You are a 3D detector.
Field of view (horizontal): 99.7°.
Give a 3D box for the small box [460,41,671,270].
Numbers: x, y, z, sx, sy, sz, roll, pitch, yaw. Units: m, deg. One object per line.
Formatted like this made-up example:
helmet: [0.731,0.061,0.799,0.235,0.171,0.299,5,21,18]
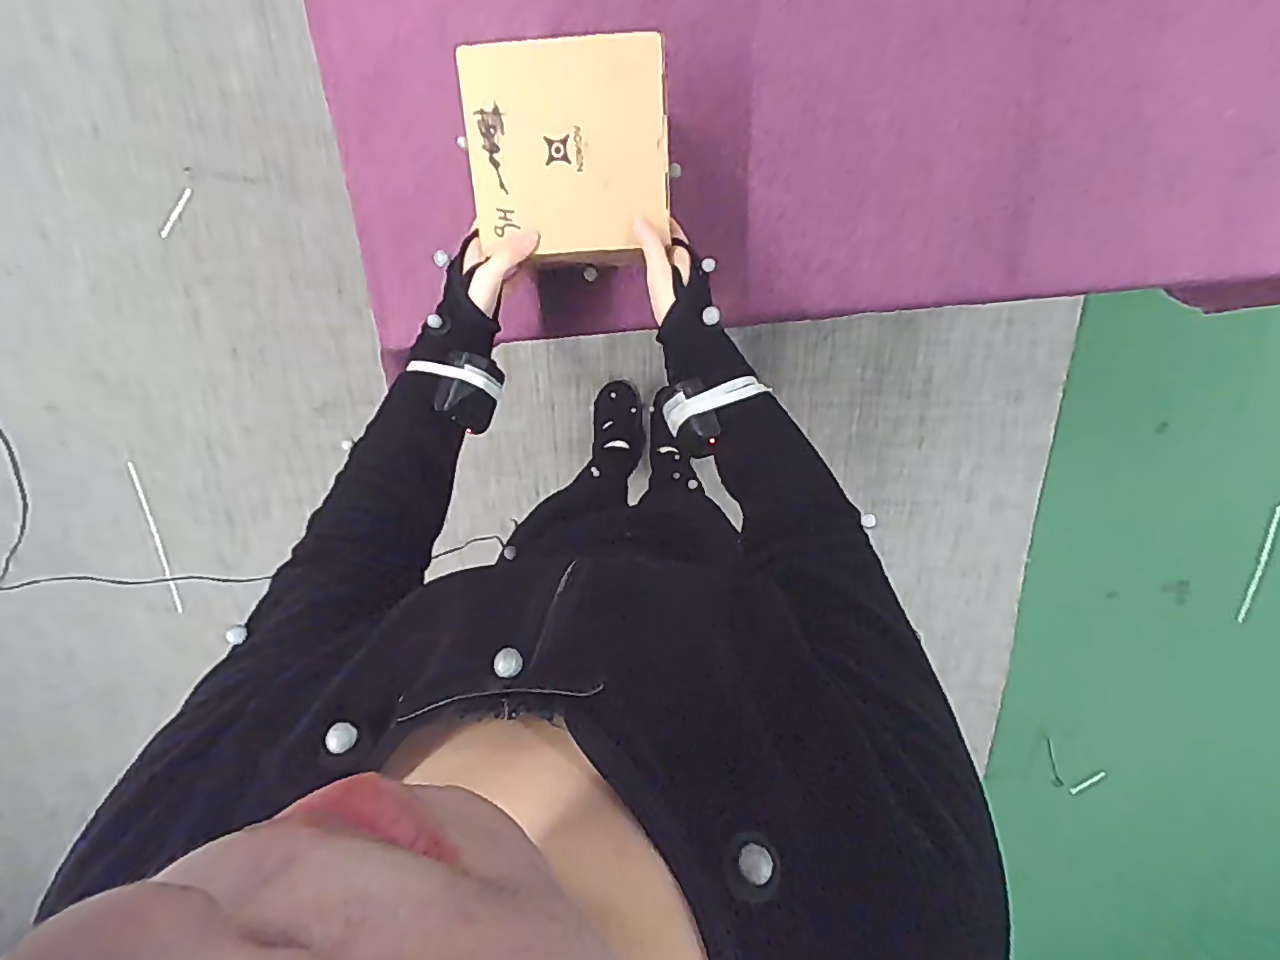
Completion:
small box: [-0.062,-0.308,0.548,0.179,0.176,0.168,-2,107,1]
